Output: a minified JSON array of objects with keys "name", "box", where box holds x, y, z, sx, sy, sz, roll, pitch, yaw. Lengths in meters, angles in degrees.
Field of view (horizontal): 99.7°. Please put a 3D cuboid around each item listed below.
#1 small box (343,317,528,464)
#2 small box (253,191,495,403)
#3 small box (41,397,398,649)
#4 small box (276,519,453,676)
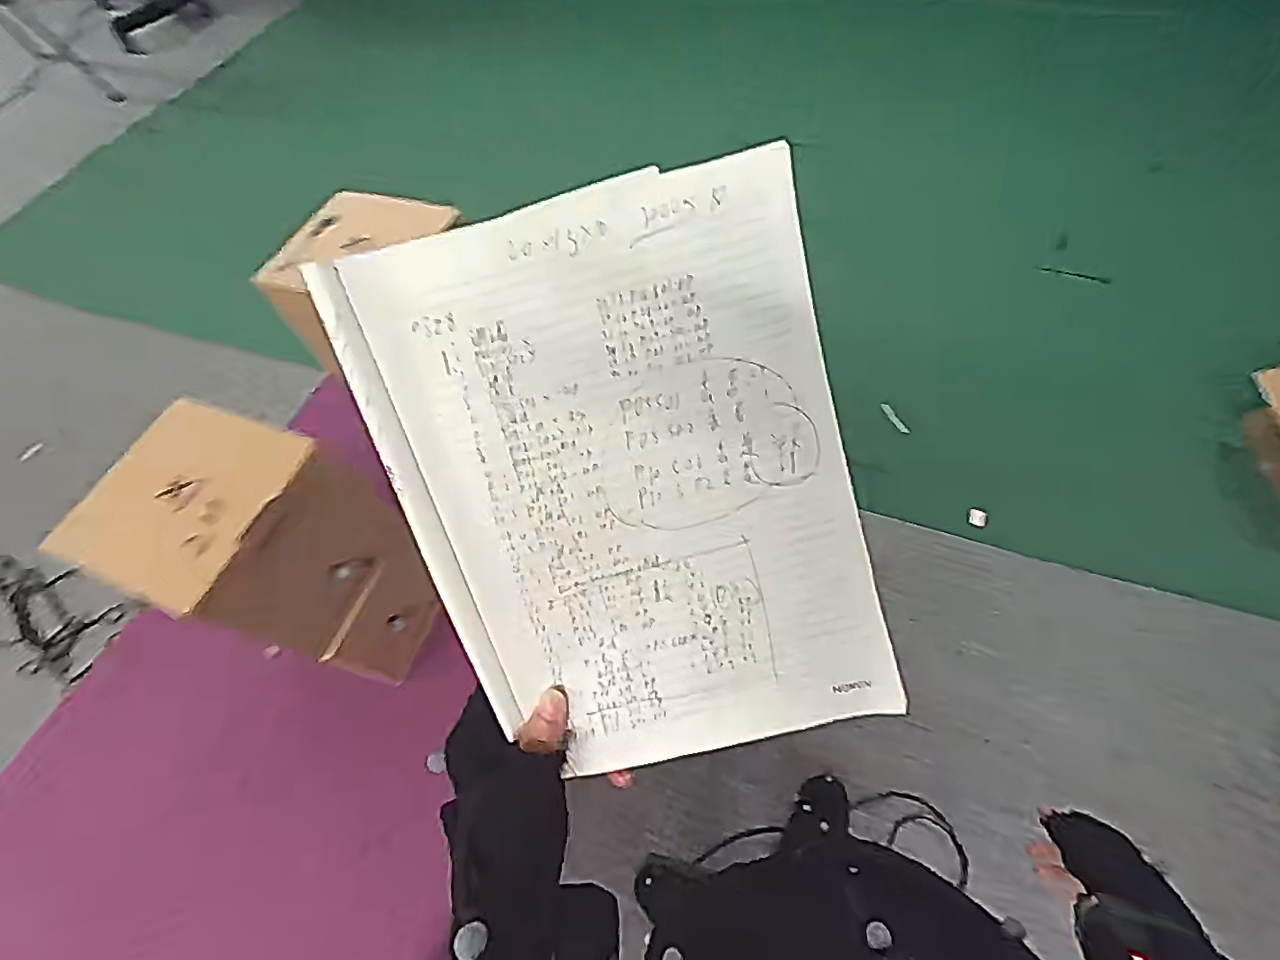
[{"name":"small box","box":[-0.293,-0.145,0.816,0.179,0.176,0.168,17,64,14]},{"name":"small box","box":[-0.307,-0.218,0.671,0.179,0.176,0.168,17,63,13]},{"name":"small box","box":[-0.384,0.049,0.530,0.179,0.176,0.168,17,64,14]},{"name":"small box","box":[-0.365,0.133,0.672,0.179,0.176,0.168,14,64,13]}]
